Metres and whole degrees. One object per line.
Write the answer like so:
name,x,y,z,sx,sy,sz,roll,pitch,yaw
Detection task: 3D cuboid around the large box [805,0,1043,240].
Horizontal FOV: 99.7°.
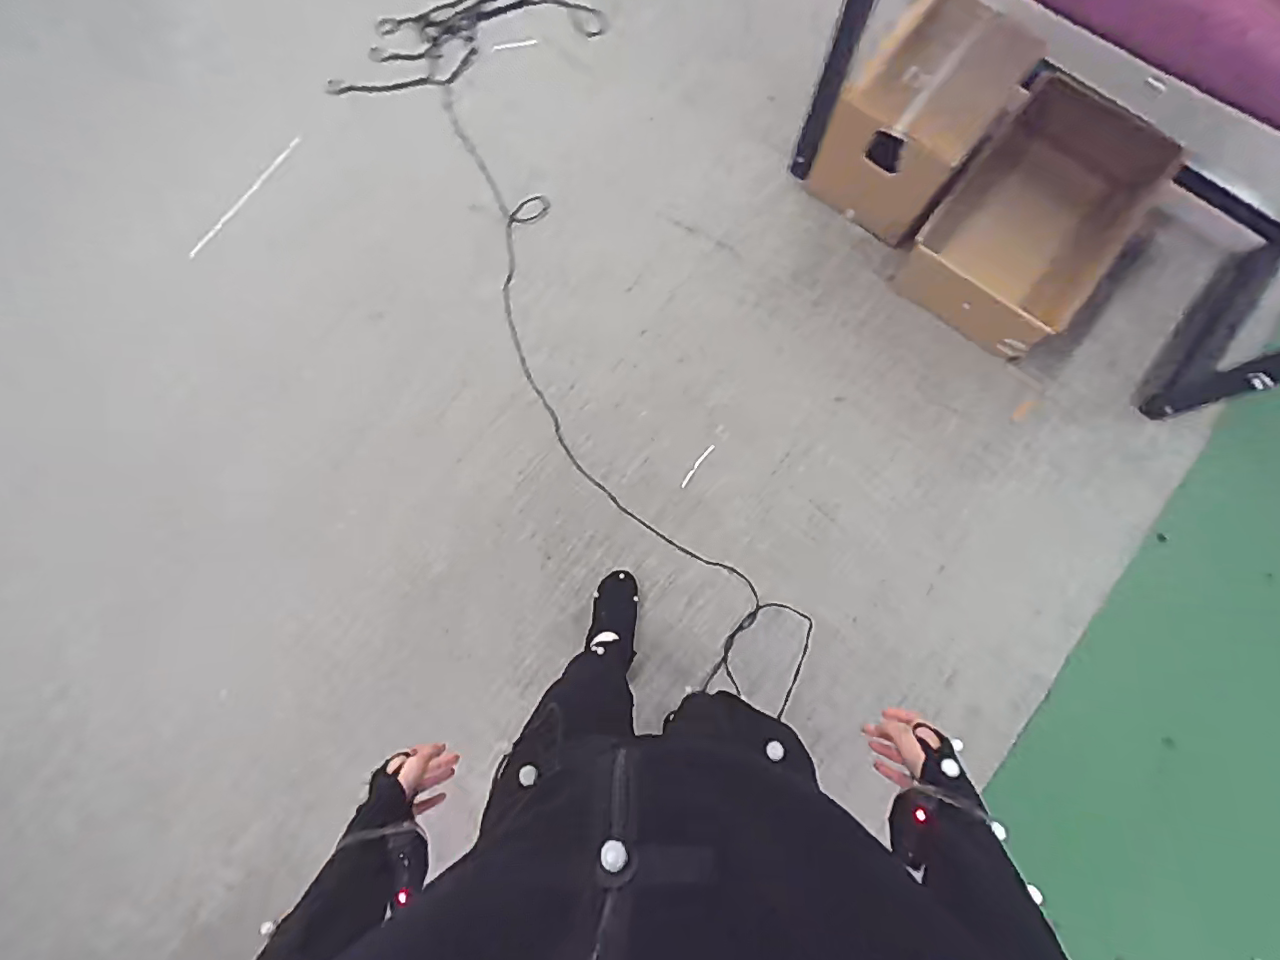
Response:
large box,0.695,-0.924,1.382,0.320,0.320,0.408,37,85,7
